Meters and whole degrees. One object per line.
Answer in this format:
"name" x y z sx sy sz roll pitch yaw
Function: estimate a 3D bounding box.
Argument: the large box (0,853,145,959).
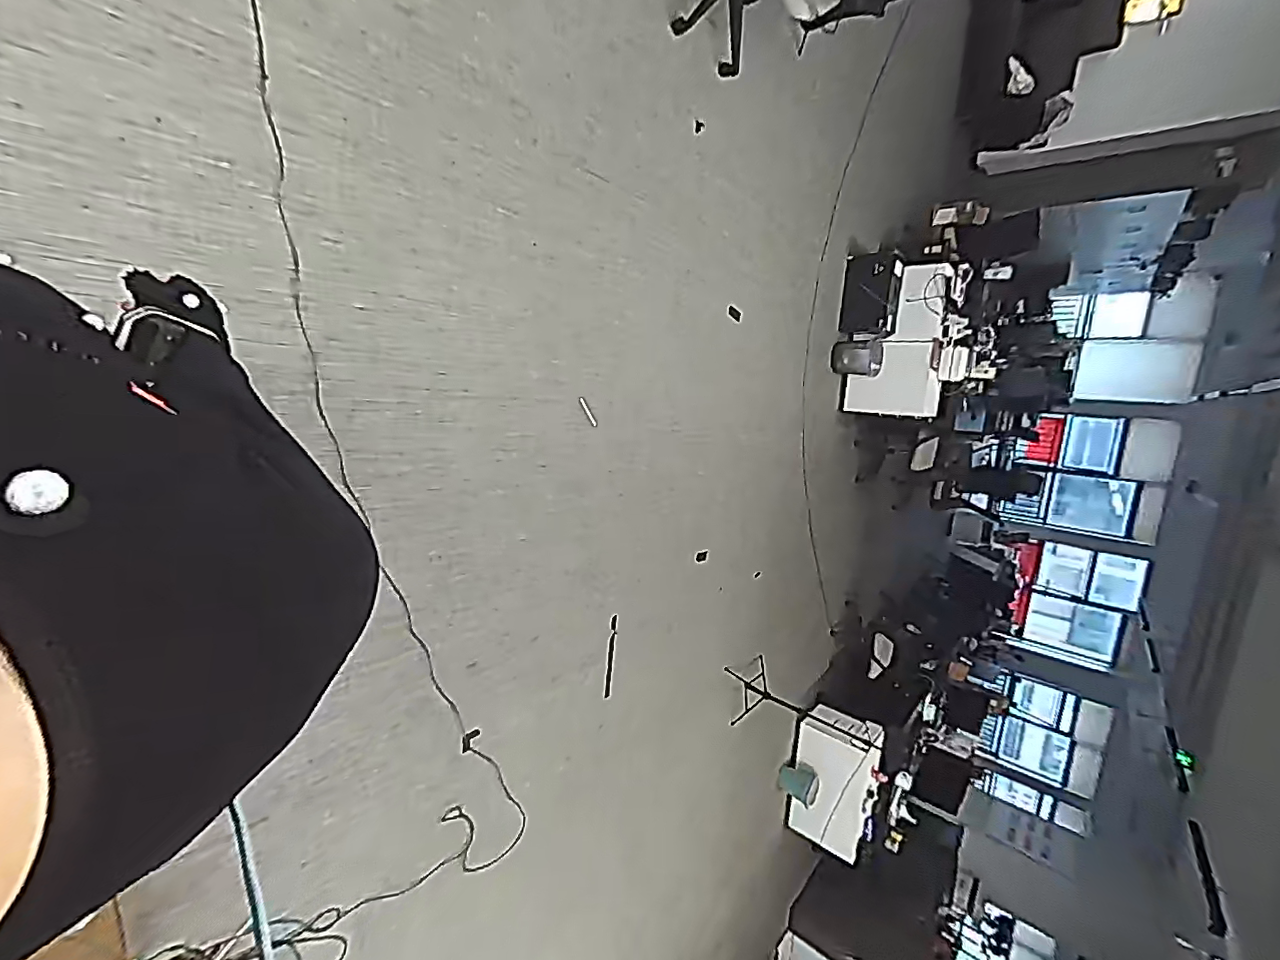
"large box" -1.210 1.039 1.010 0.408 0.320 0.320 -21 115 -48
